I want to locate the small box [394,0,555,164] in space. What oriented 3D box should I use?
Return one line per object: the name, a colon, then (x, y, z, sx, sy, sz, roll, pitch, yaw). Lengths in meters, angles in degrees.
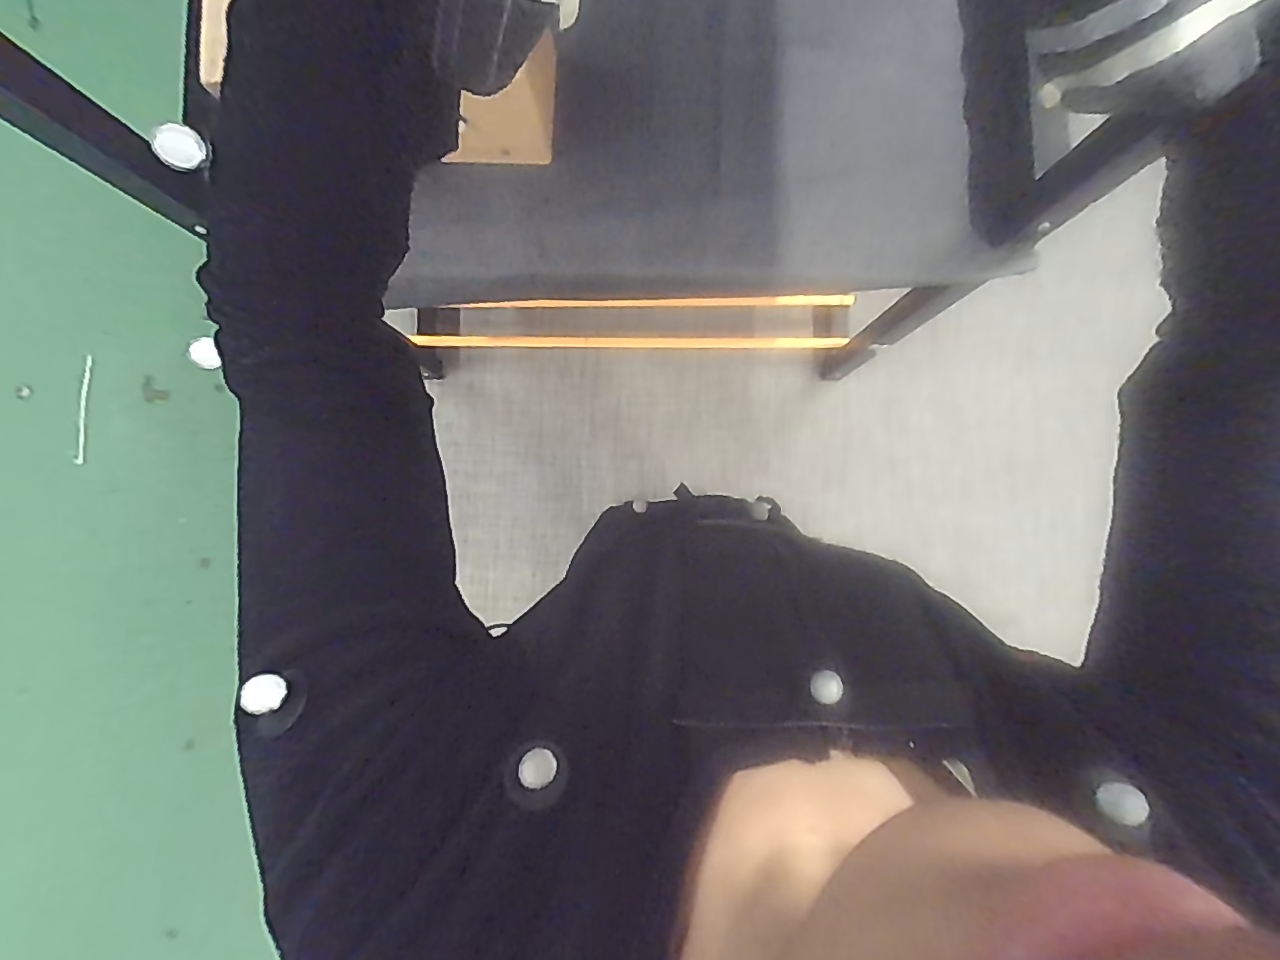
small box: (-0.212, -0.561, 0.734, 0.168, 0.176, 0.179, 2, 86, 1)
